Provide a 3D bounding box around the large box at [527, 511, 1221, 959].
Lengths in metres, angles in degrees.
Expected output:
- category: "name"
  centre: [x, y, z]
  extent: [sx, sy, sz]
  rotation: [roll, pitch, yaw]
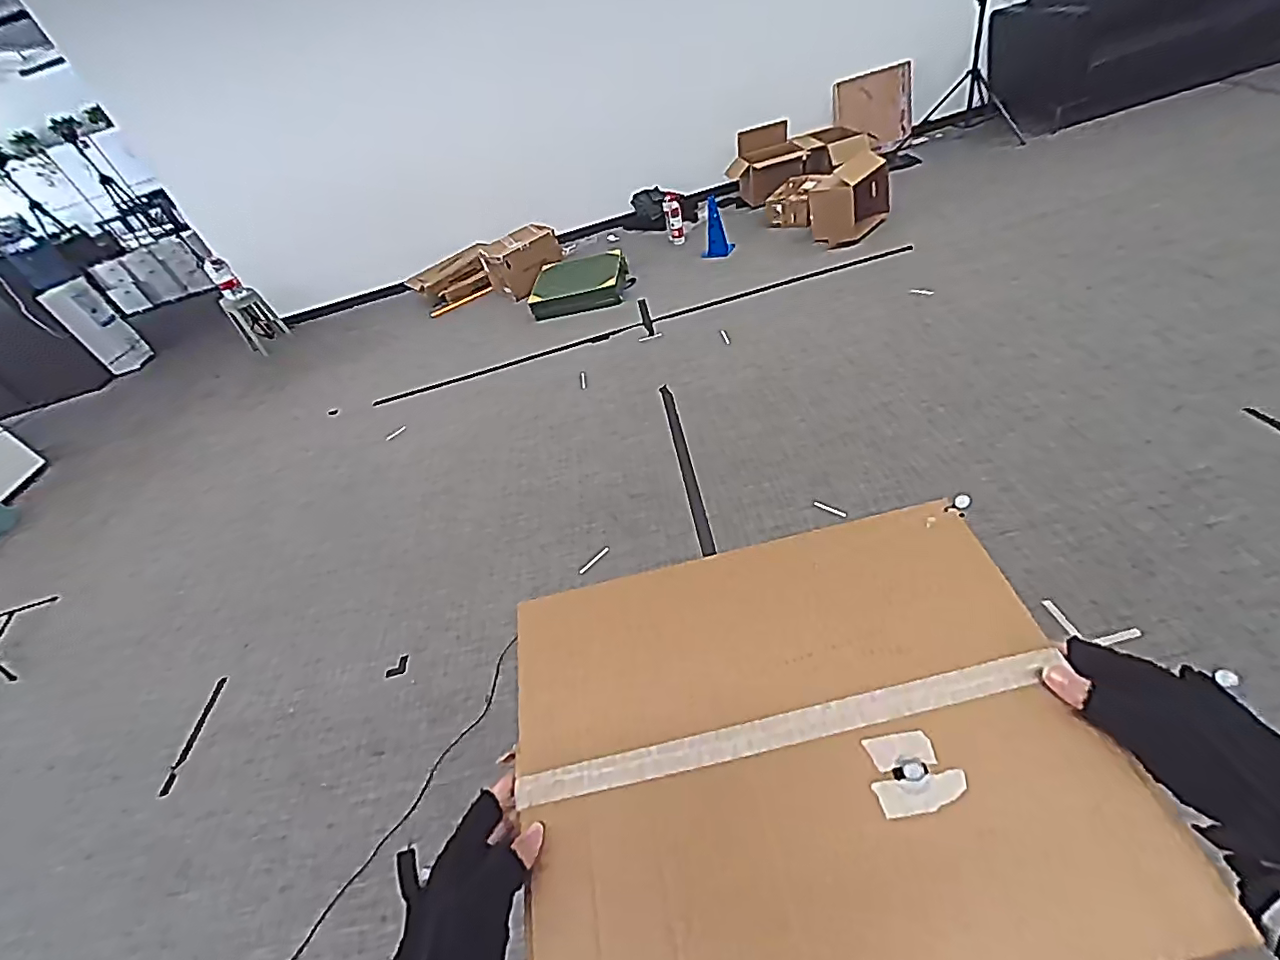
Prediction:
- category: "large box"
  centre: [0.138, 0.285, 0.516]
  extent: [0.408, 0.320, 0.320]
  rotation: [-14, 49, 1]
